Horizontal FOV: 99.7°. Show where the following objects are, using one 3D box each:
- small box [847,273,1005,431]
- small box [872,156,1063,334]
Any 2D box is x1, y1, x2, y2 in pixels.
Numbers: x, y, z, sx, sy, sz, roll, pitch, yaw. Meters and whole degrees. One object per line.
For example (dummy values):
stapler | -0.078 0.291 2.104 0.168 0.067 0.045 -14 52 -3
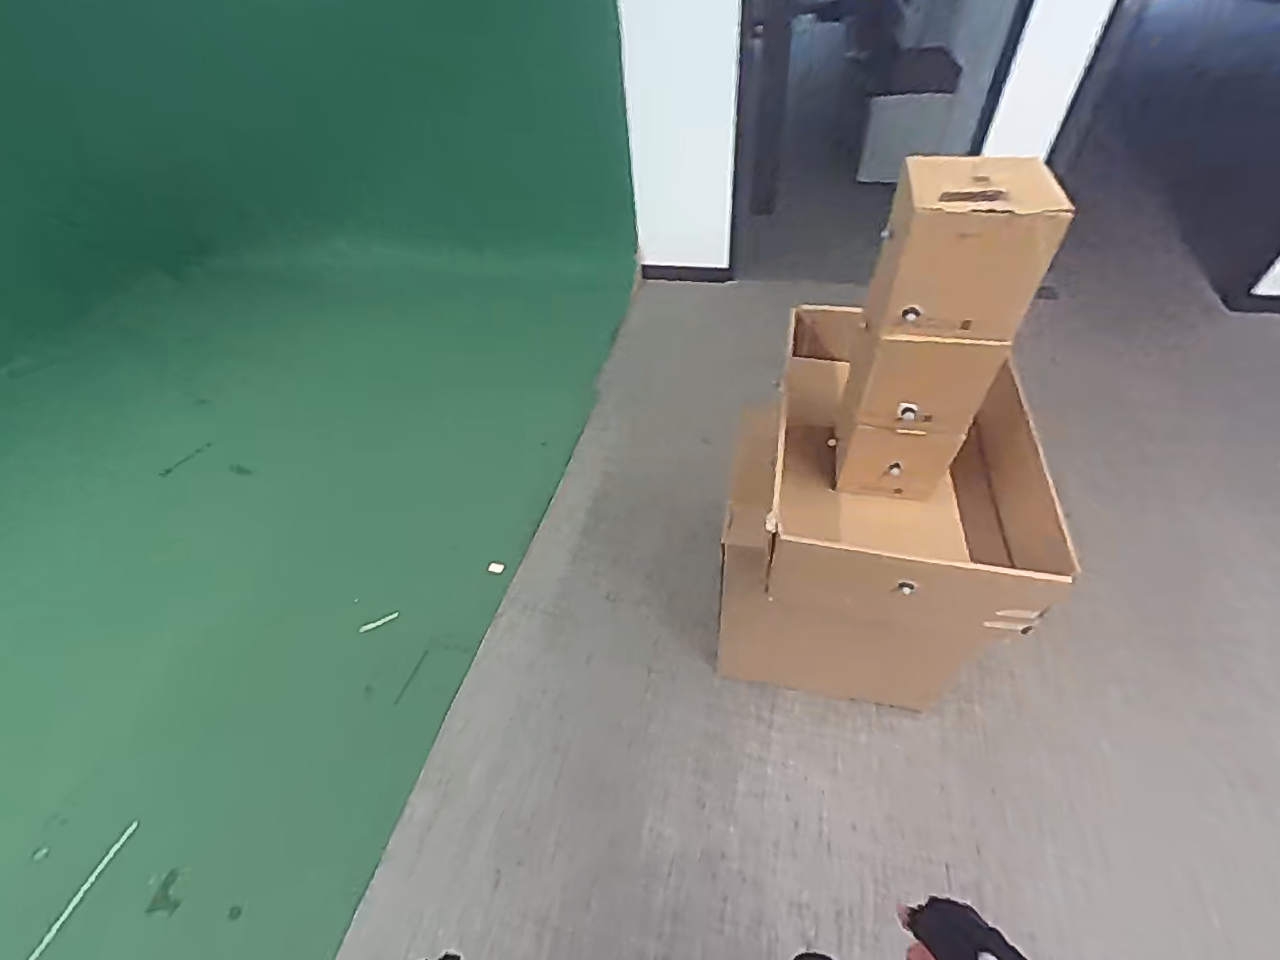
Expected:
small box | 0.430 -0.201 0.849 0.168 0.176 0.179 5 51 10
small box | 0.422 -0.316 0.732 0.168 0.176 0.179 8 49 12
